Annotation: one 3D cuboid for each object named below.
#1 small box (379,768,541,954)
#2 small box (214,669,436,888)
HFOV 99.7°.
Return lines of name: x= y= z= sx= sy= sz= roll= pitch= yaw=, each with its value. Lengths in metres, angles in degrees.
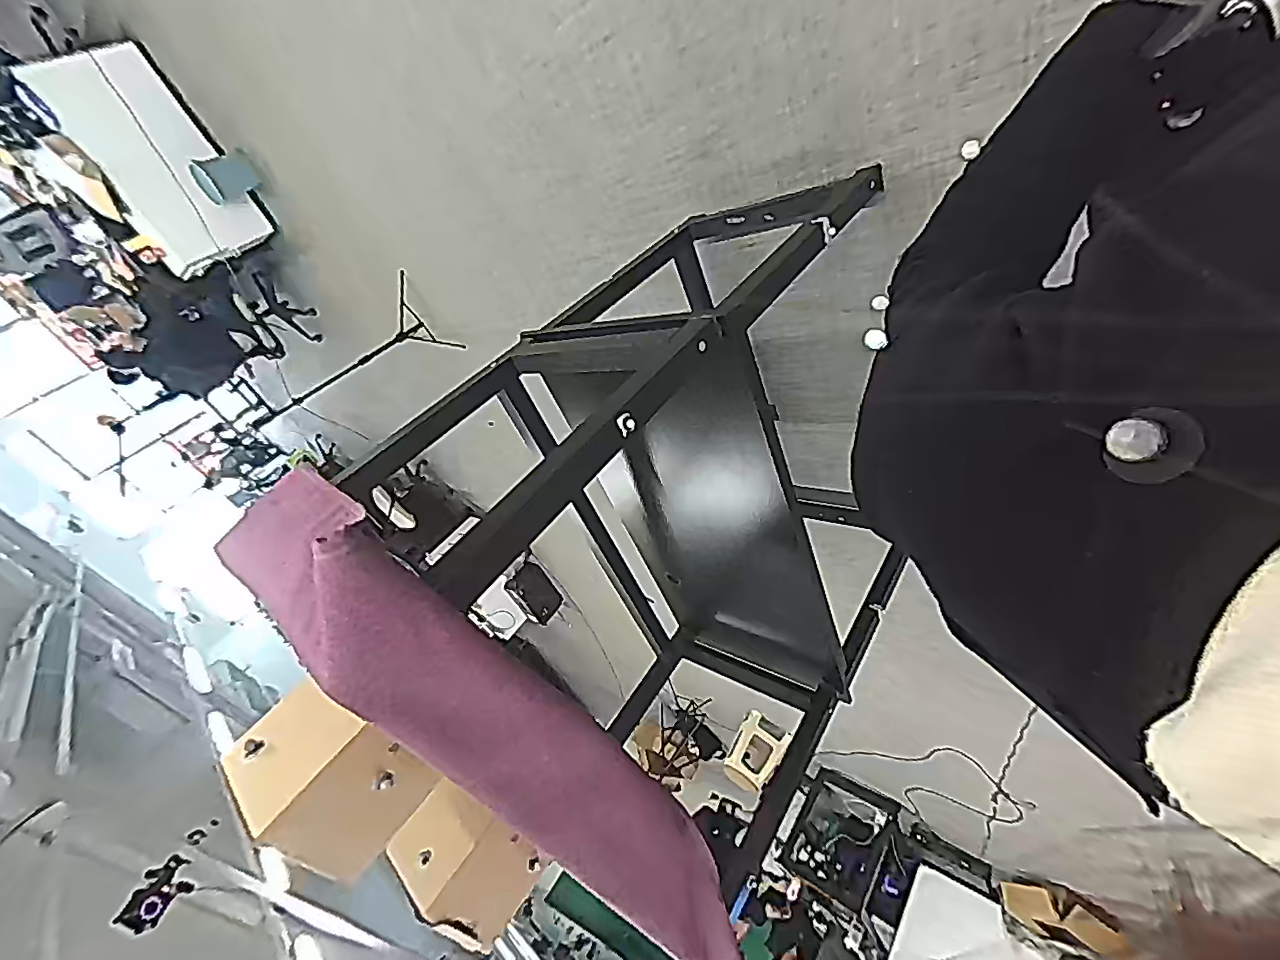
small box: x=-0.295 y=0.629 z=0.913 sx=0.179 sy=0.176 sz=0.168 roll=6 pitch=135 yaw=48
small box: x=-0.410 y=0.383 z=0.723 sx=0.179 sy=0.176 sz=0.168 roll=14 pitch=141 yaw=41
